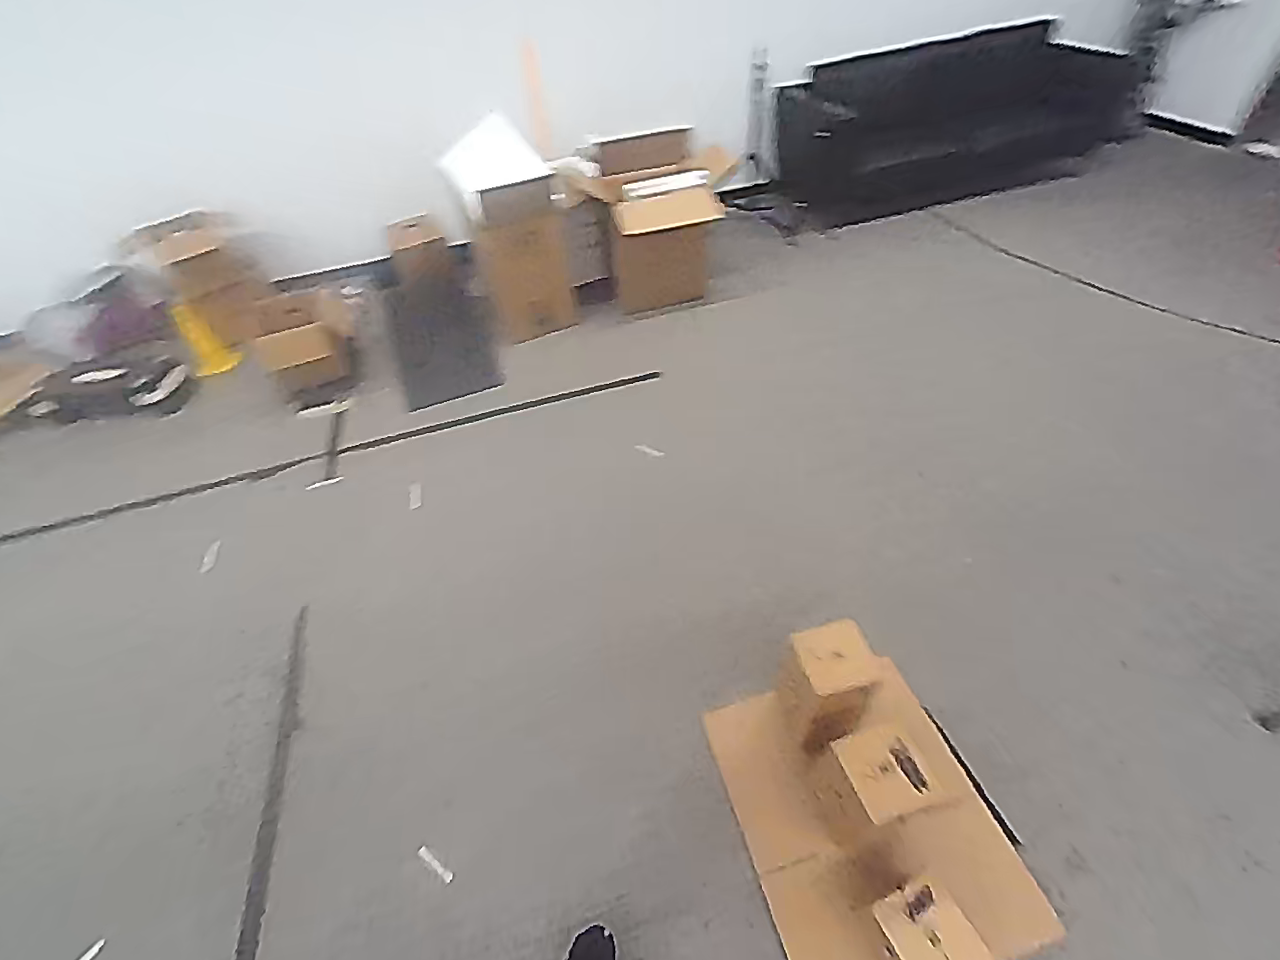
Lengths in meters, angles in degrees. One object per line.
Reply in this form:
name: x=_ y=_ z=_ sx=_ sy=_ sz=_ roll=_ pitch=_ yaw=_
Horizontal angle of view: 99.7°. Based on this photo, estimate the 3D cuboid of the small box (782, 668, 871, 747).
small box: x=0.500 y=0.606 z=1.481 sx=0.179 sy=0.176 sz=0.168 roll=-13 pitch=46 yaw=-5

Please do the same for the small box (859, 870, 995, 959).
small box: x=0.590 y=0.966 z=1.131 sx=0.168 sy=0.176 sz=0.179 roll=-21 pitch=48 yaw=-13

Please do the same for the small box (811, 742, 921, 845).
small box: x=0.541 y=0.769 z=1.323 sx=0.179 sy=0.176 sz=0.168 roll=-12 pitch=47 yaw=-5

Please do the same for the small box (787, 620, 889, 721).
small box: x=0.491 y=0.485 z=1.369 sx=0.179 sy=0.176 sz=0.168 roll=-12 pitch=46 yaw=-5
